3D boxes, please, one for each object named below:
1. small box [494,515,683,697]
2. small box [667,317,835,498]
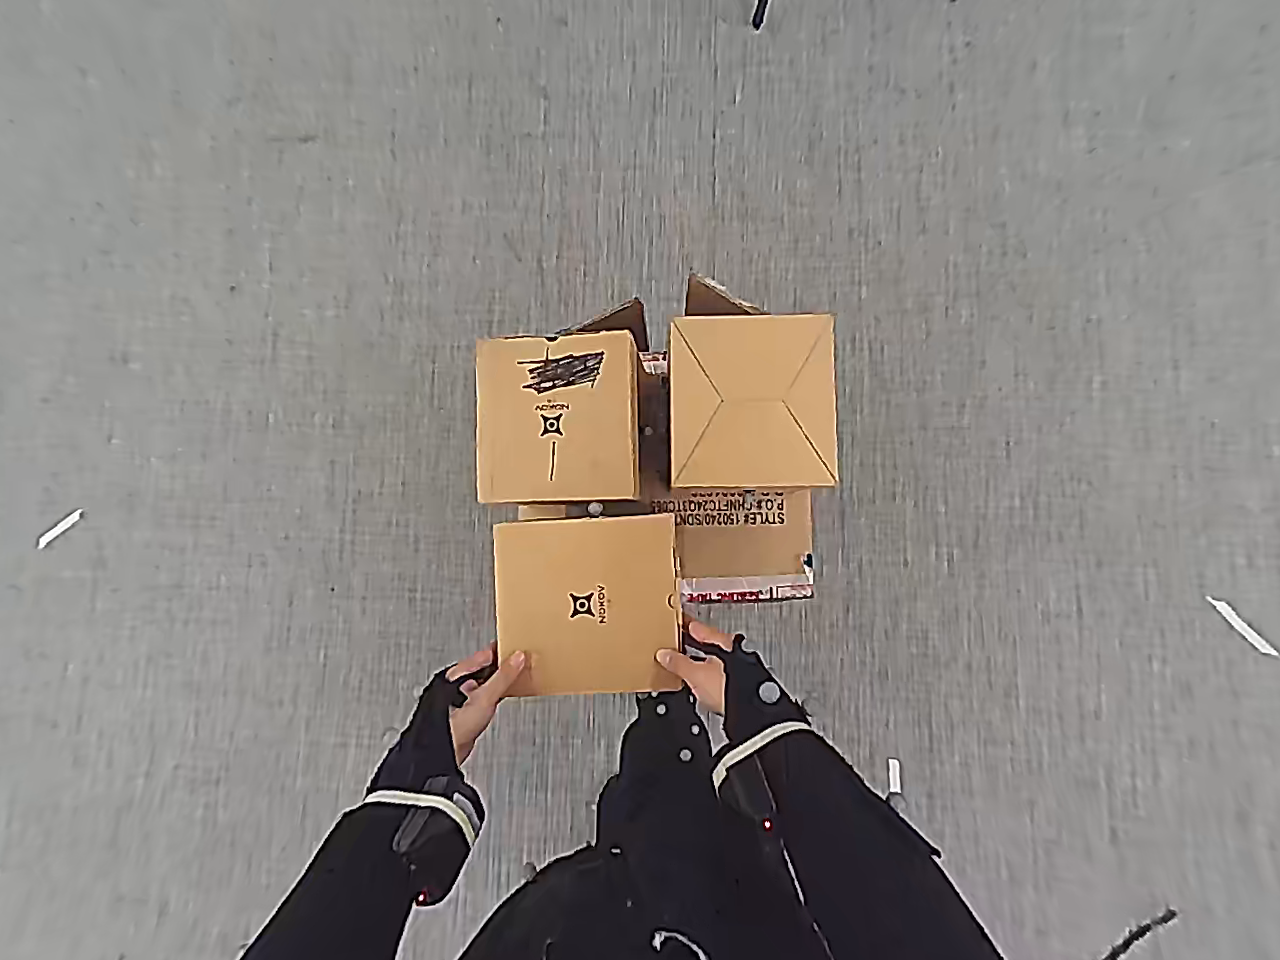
[{"bbox_3d":[-0.048,0.126,0.592,0.179,0.176,0.168,-4,86,1],"label":"small box"},{"bbox_3d":[0.116,-0.071,0.625,0.168,0.176,0.179,-1,86,1],"label":"small box"}]
